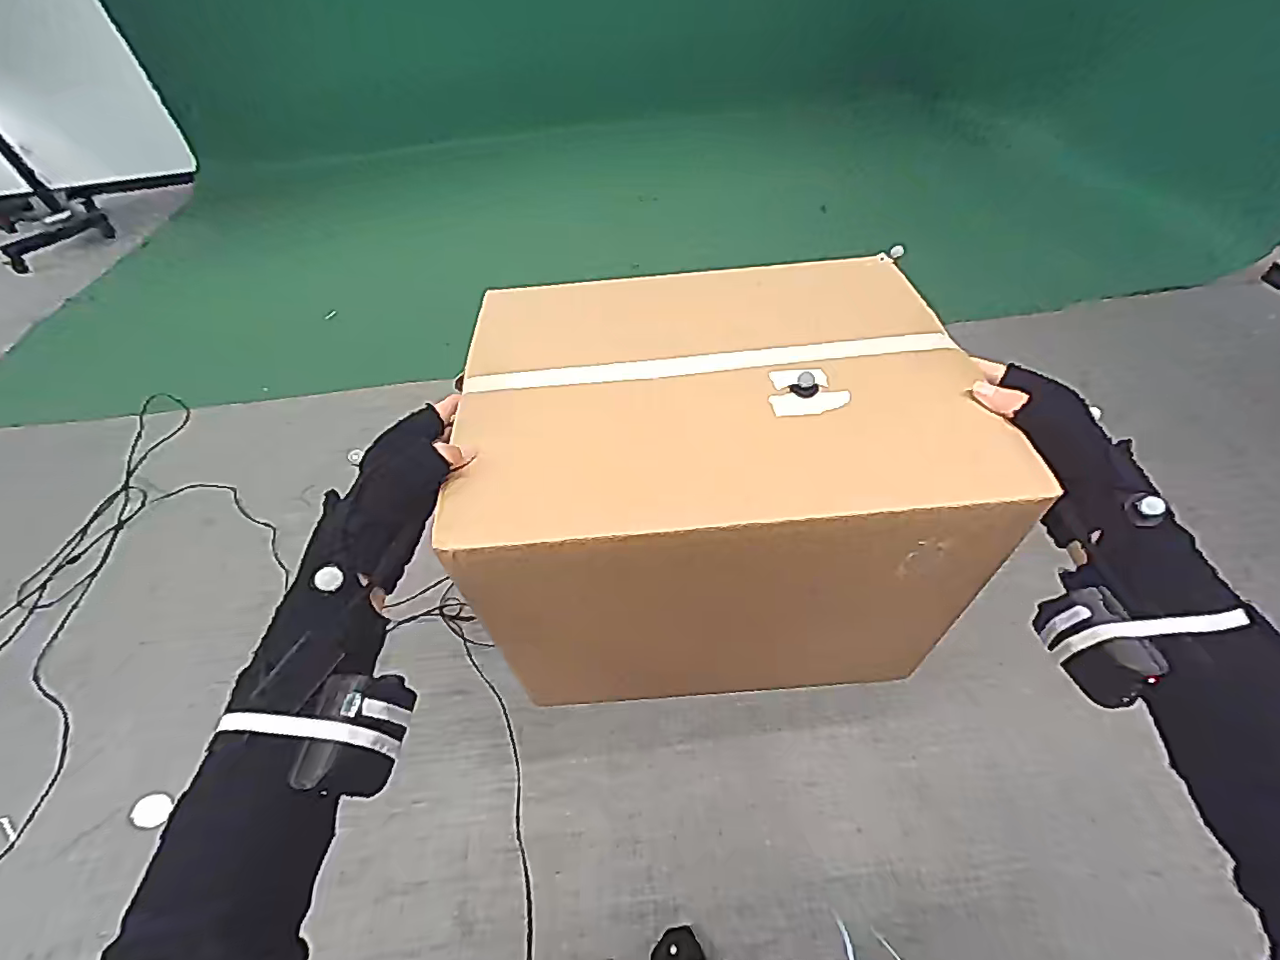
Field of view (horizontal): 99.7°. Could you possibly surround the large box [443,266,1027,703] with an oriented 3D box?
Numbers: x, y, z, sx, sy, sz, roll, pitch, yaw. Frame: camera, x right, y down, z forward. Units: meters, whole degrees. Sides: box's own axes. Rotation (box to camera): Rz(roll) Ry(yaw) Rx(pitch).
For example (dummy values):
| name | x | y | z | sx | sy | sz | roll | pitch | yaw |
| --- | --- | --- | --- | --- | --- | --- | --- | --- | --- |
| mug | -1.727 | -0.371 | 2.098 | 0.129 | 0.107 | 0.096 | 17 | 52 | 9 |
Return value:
| name | x | y | z | sx | sy | sz | roll | pitch | yaw |
| --- | --- | --- | --- | --- | --- | --- | --- | --- | --- |
| large box | 0.060 | 0.012 | 0.566 | 0.408 | 0.320 | 0.320 | -5 | 50 | 0 |
